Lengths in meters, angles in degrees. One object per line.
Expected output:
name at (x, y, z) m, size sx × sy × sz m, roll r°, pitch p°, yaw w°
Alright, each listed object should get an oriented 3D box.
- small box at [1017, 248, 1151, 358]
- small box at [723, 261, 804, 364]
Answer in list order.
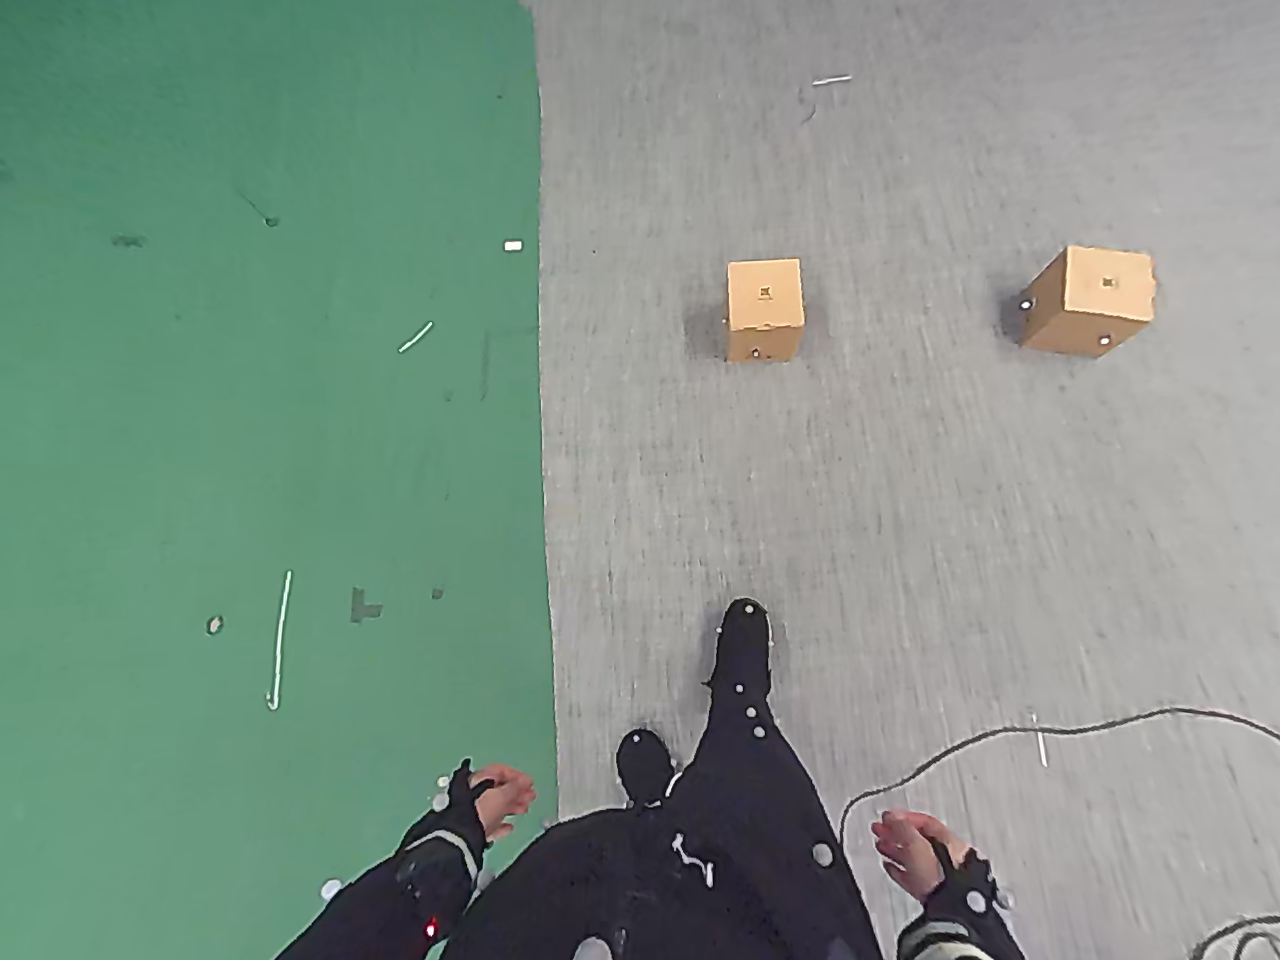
small box at (1.009, -0.398, 1.238) m, size 0.179 × 0.176 × 0.168 m, roll 10°, pitch 75°, yaw 9°
small box at (0.291, -0.400, 1.308) m, size 0.168 × 0.176 × 0.179 m, roll -2°, pitch 76°, yaw 5°
